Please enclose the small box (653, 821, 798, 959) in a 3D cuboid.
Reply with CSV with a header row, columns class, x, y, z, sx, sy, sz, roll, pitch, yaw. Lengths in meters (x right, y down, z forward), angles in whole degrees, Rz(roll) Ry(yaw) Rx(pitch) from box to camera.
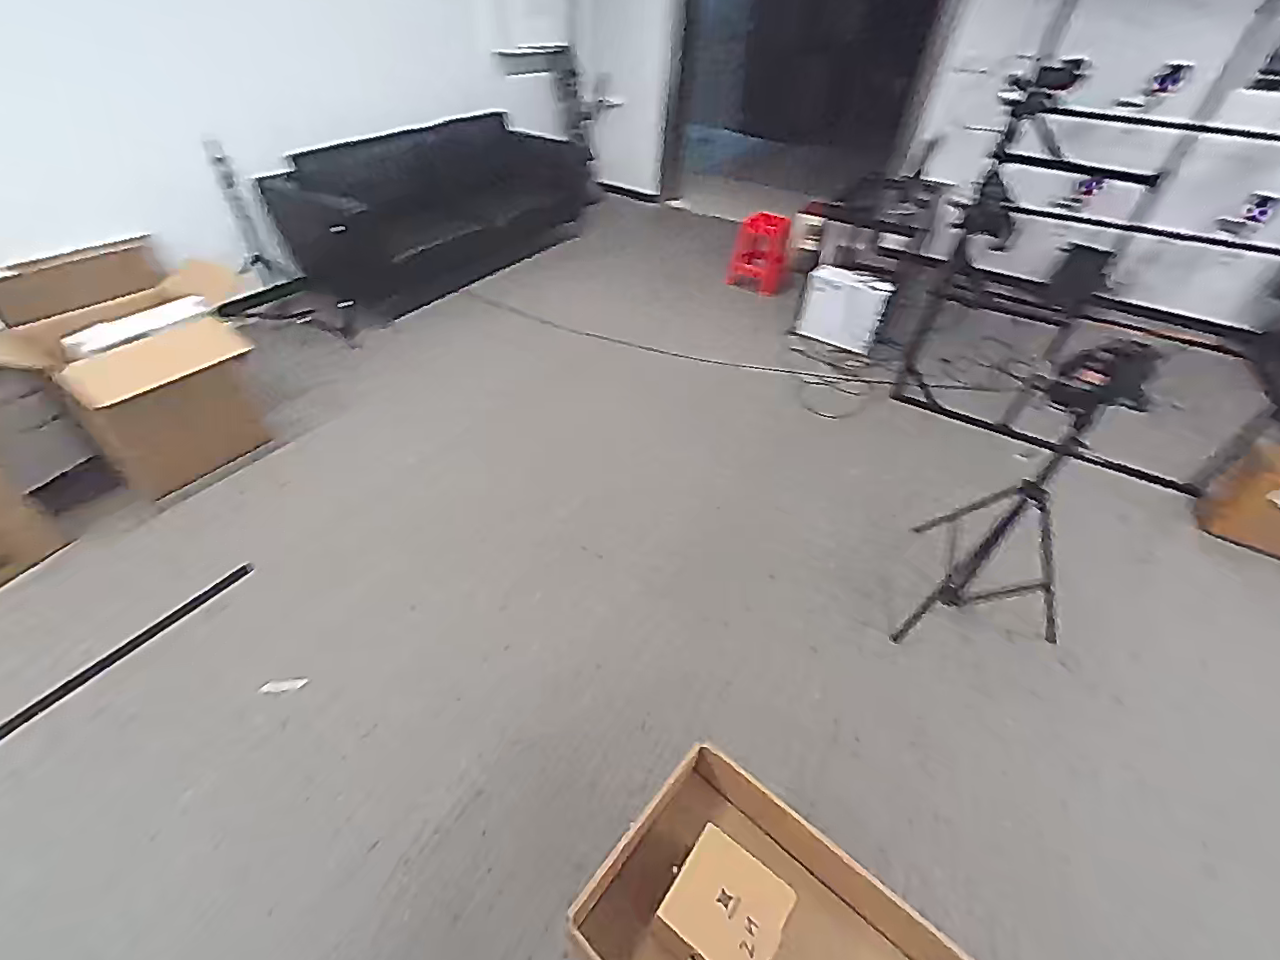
class,x,y,z,sx,sy,sz,roll,pitch,yaw
small box,0.137,0.741,0.927,0.179,0.176,0.168,30,48,24
